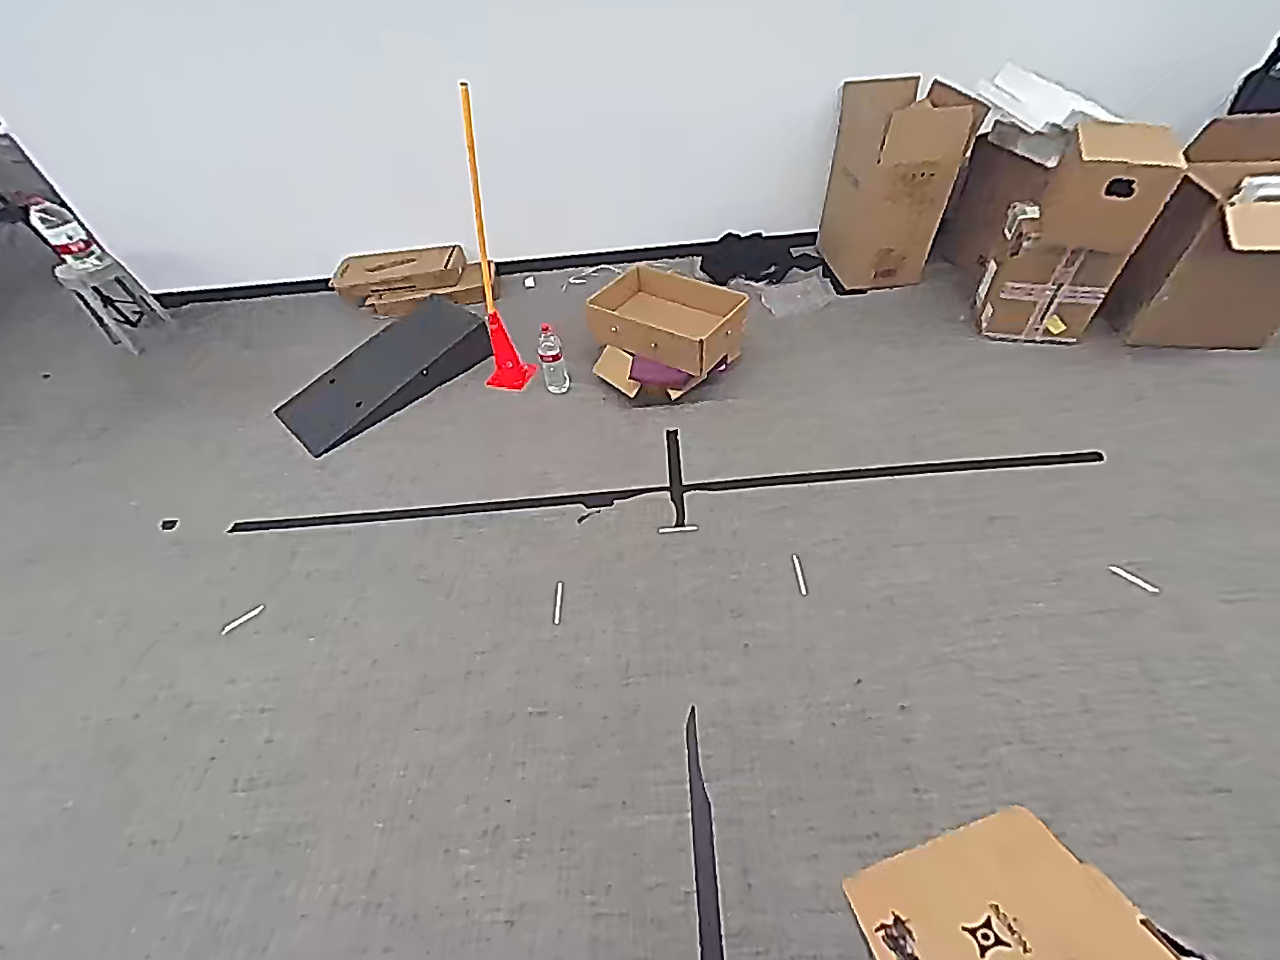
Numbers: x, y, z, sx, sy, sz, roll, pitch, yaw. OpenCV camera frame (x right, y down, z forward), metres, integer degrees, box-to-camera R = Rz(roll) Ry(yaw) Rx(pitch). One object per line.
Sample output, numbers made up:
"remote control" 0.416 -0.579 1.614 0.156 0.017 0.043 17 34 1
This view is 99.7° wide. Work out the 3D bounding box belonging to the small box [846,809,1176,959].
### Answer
"small box" 0.292 0.406 0.408 0.179 0.176 0.168 -23 8 1
